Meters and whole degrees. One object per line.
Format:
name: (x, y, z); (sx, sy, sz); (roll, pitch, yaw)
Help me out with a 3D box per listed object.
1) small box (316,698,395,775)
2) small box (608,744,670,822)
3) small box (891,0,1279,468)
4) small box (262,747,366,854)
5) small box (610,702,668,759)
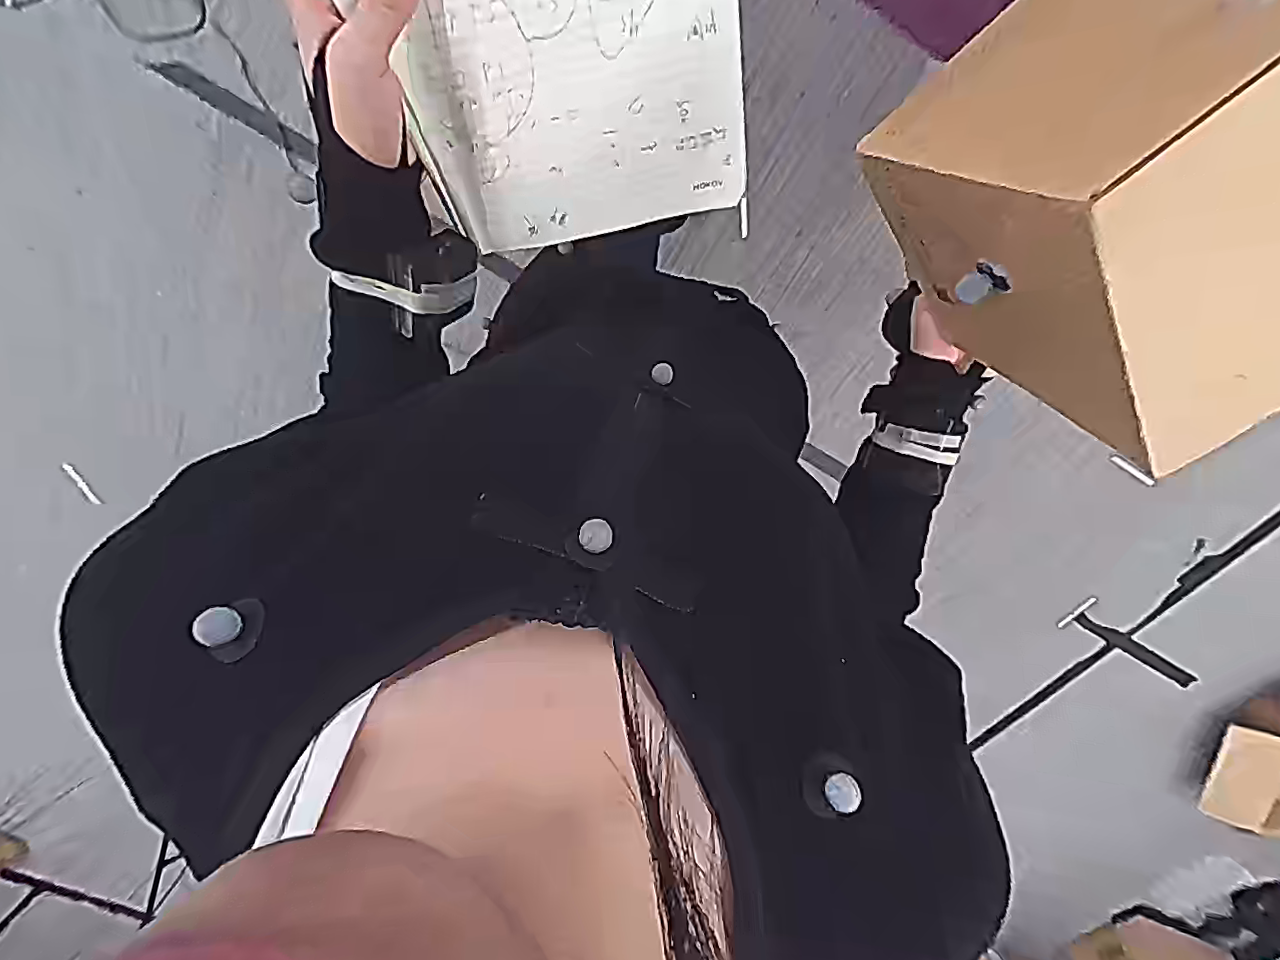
small box: (-0.873, 0.798, 1.634); (0.168, 0.176, 0.179); (33, 115, -12)
small box: (0.001, 1.013, 1.820); (0.168, 0.176, 0.179); (-11, 116, 12)
small box: (0.250, -0.146, 0.255); (0.179, 0.176, 0.168); (-39, 124, 16)
small box: (-0.890, 0.879, 1.492); (0.168, 0.176, 0.179); (31, 114, -10)
small box: (0.004, 0.942, 1.970); (0.168, 0.176, 0.179); (-13, 114, 11)
